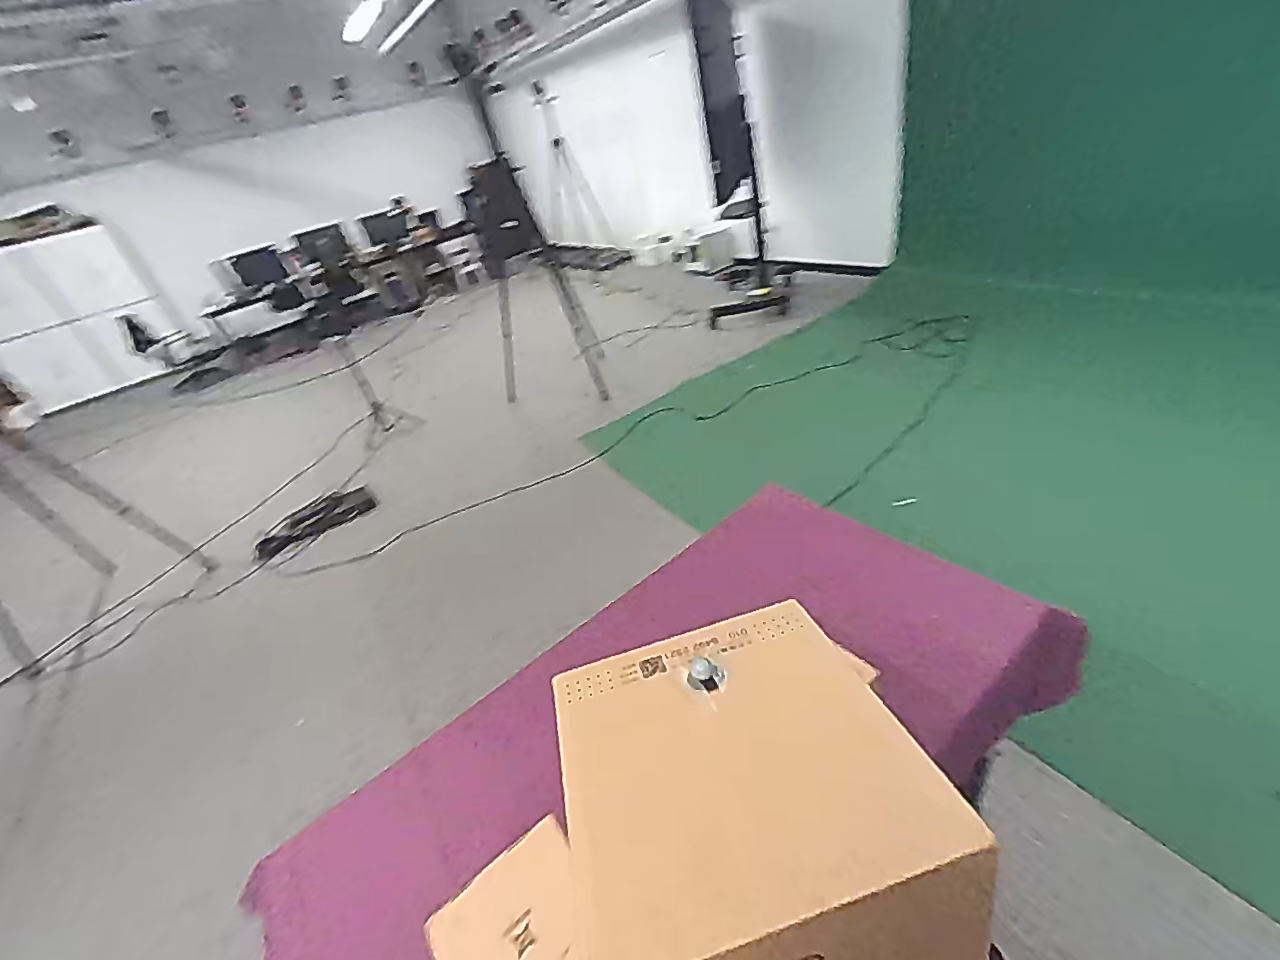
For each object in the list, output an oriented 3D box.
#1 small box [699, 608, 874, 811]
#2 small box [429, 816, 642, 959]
[{"bbox_3d":[0.214,0.328,0.783,0.168,0.176,0.179,-34,37,-24],"label":"small box"},{"bbox_3d":[-0.104,0.540,0.607,0.168,0.176,0.179,-33,38,-23],"label":"small box"}]
